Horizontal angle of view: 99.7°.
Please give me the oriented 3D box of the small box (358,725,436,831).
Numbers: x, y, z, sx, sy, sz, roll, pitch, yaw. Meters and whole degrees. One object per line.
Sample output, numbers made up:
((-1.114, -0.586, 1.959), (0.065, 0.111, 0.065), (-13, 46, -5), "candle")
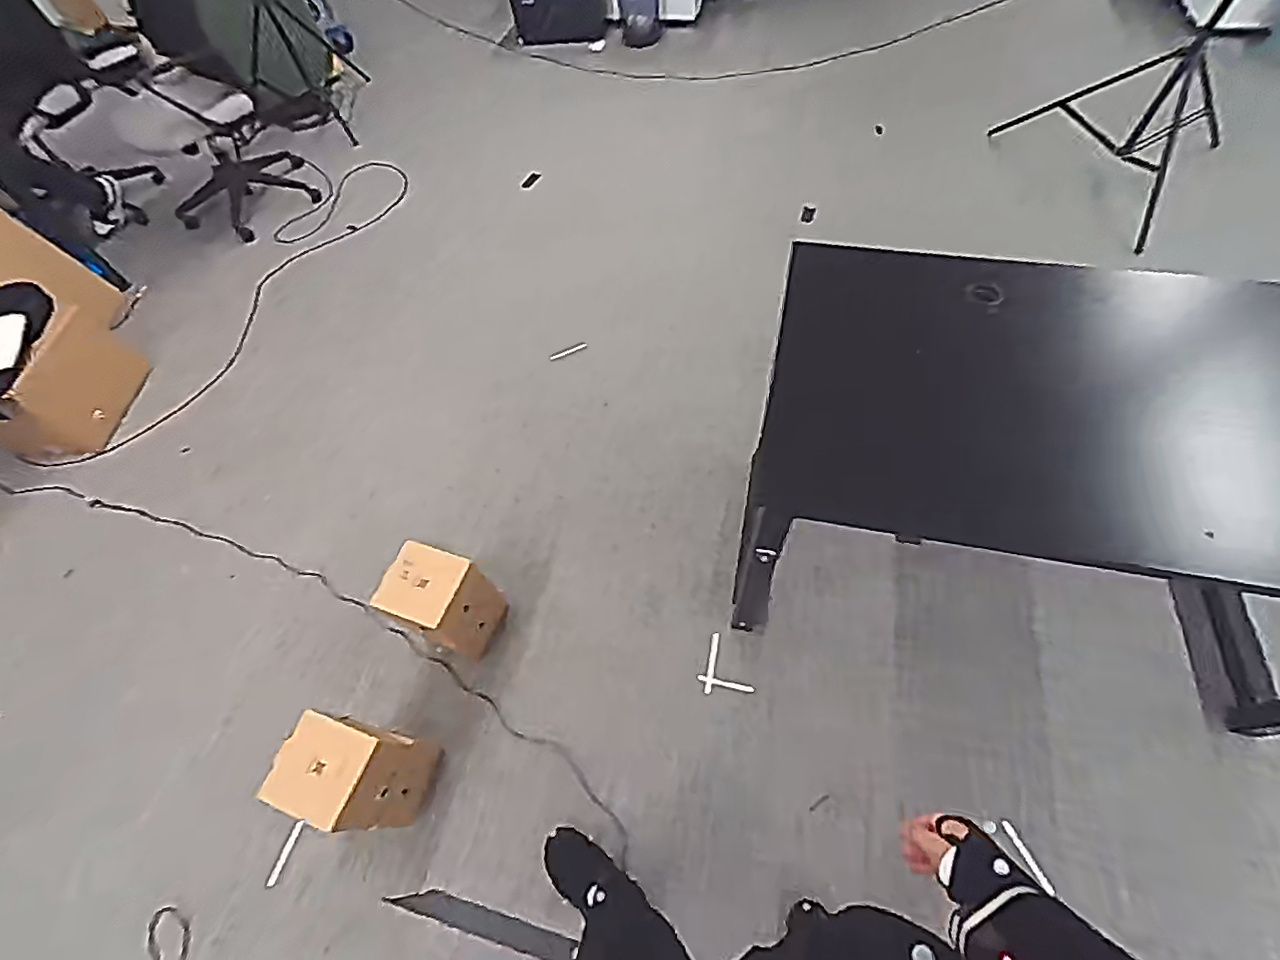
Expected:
((-0.596, 0.675, 1.237), (0.168, 0.176, 0.179), (11, 61, 11), "small box")

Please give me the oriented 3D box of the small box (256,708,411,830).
((-0.609, 0.587, 1.099), (0.179, 0.176, 0.168), (15, 63, 12), "small box")

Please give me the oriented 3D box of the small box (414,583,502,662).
((-0.481, 0.352, 1.419), (0.168, 0.176, 0.179), (18, 62, 15), "small box")

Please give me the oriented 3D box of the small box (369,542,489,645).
((-0.484, 0.274, 1.273), (0.179, 0.176, 0.168), (15, 60, 14), "small box")
